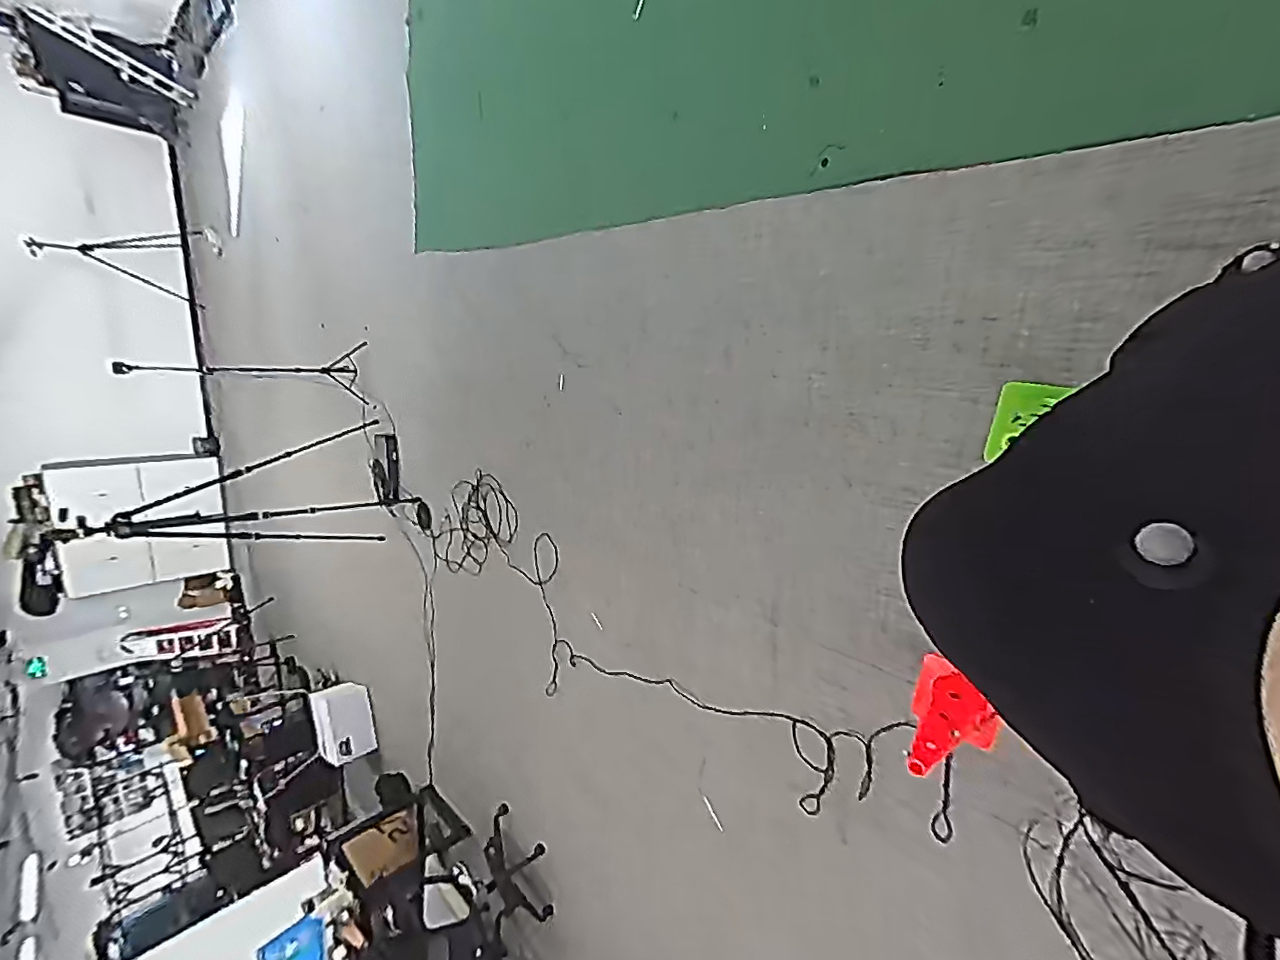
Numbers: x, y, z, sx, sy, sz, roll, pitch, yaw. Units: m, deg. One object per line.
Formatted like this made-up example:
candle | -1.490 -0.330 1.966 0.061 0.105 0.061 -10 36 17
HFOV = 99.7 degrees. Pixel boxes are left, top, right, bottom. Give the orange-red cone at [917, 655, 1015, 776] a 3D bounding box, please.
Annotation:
orange-red cone | 0.739 0.603 1.303 0.198 0.360 0.199 20 110 39

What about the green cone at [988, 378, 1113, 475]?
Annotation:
green cone | 0.803 -0.099 1.104 0.200 0.368 0.202 18 111 41
